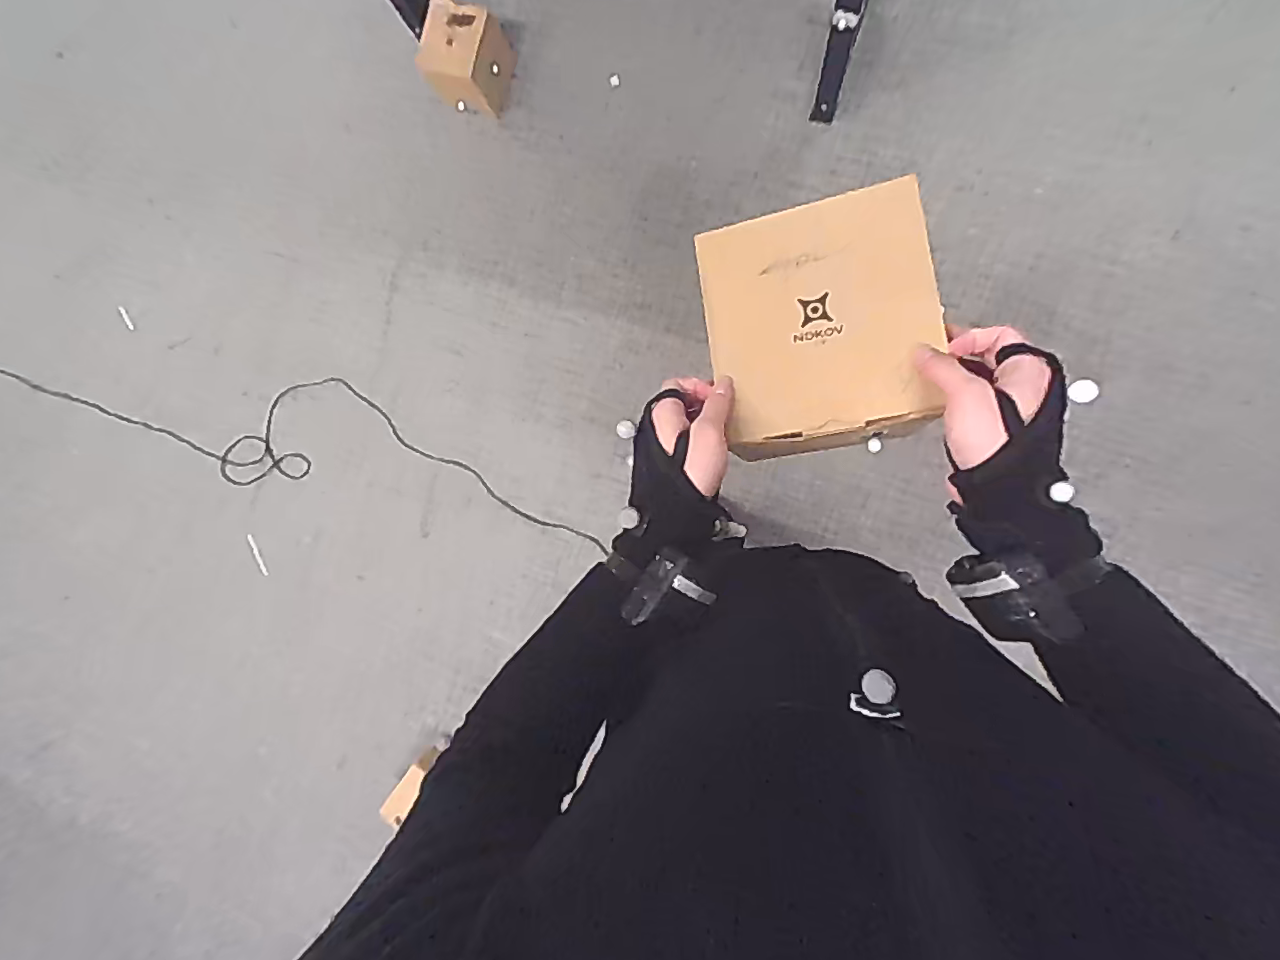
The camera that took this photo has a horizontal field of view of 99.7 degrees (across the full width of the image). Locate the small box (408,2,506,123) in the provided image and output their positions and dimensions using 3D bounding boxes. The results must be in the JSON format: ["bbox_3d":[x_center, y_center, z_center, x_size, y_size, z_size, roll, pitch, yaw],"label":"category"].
[{"bbox_3d":[-0.474,-1.095,1.427,0.168,0.176,0.179,17,94,10],"label":"small box"}]

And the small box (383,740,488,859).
[{"bbox_3d":[-0.531,0.837,1.437,0.168,0.176,0.179,37,95,7],"label":"small box"}]
